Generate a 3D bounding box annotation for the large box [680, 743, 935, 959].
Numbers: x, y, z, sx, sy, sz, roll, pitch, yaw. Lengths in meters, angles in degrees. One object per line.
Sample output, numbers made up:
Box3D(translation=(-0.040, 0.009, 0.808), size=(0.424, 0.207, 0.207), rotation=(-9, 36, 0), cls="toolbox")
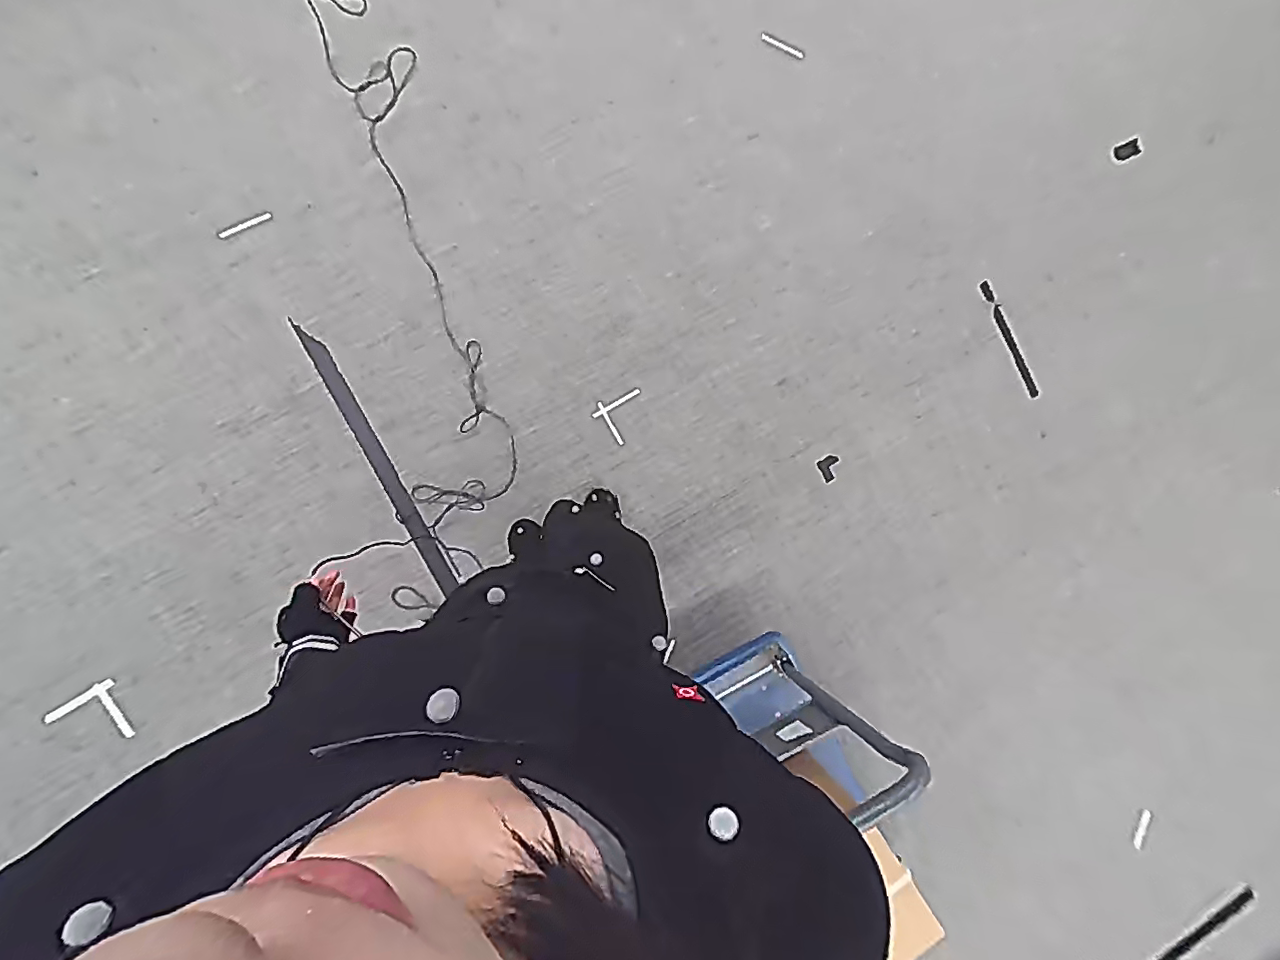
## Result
Box3D(translation=(0.360, 0.912, 1.248), size=(0.408, 0.320, 0.320), rotation=(-34, 92, -6), cls="large box")
